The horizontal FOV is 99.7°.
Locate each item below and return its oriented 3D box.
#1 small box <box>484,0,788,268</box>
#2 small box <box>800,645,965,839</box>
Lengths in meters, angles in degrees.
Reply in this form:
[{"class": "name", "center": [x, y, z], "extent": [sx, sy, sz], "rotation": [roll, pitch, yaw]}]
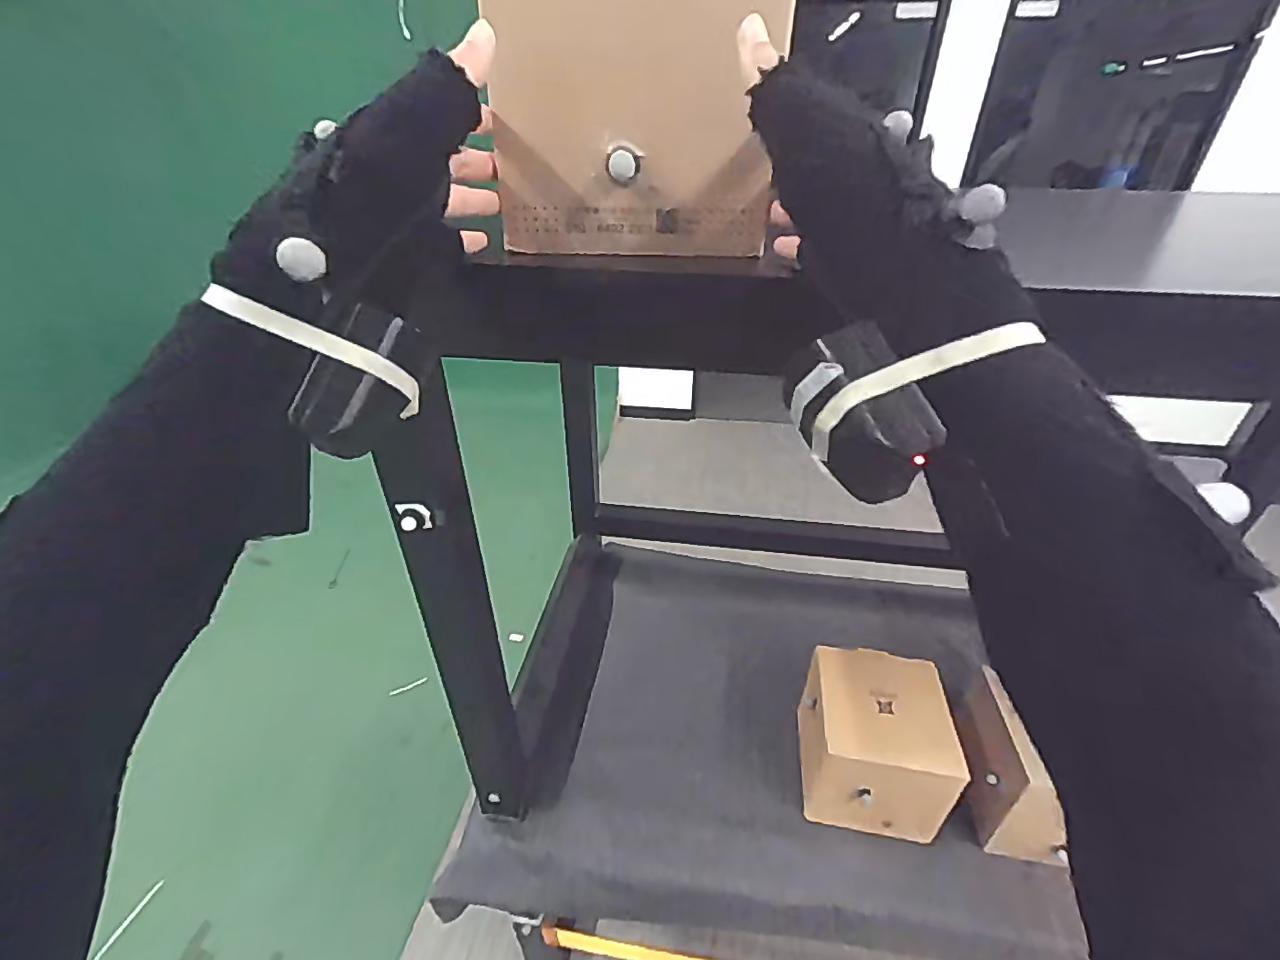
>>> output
[{"class": "small box", "center": [-0.002, -0.254, 0.374], "extent": [0.168, 0.176, 0.179], "rotation": [2, 33, 2]}, {"class": "small box", "center": [0.323, 0.367, 0.762], "extent": [0.168, 0.176, 0.179], "rotation": [6, 32, 9]}]
